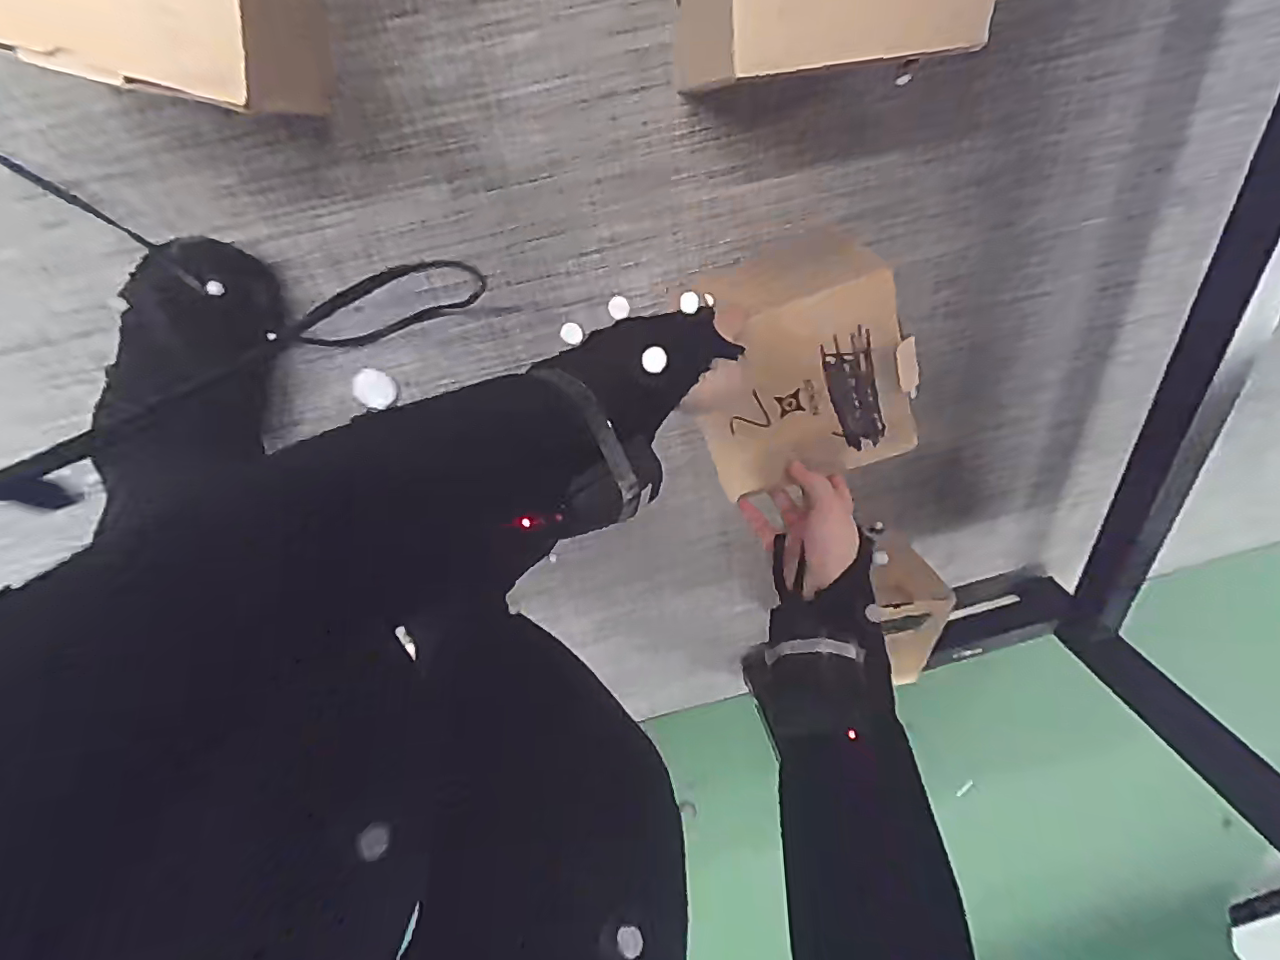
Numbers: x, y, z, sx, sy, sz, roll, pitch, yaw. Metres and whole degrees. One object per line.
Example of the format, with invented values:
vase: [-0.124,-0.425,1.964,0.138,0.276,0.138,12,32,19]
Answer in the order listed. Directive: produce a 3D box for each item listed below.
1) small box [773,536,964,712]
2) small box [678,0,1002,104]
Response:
small box: [0.302,0.191,0.760,0.168,0.176,0.179,-4,124,-9]
small box: [0.122,-0.369,0.369,0.179,0.176,0.168,-11,124,-5]
